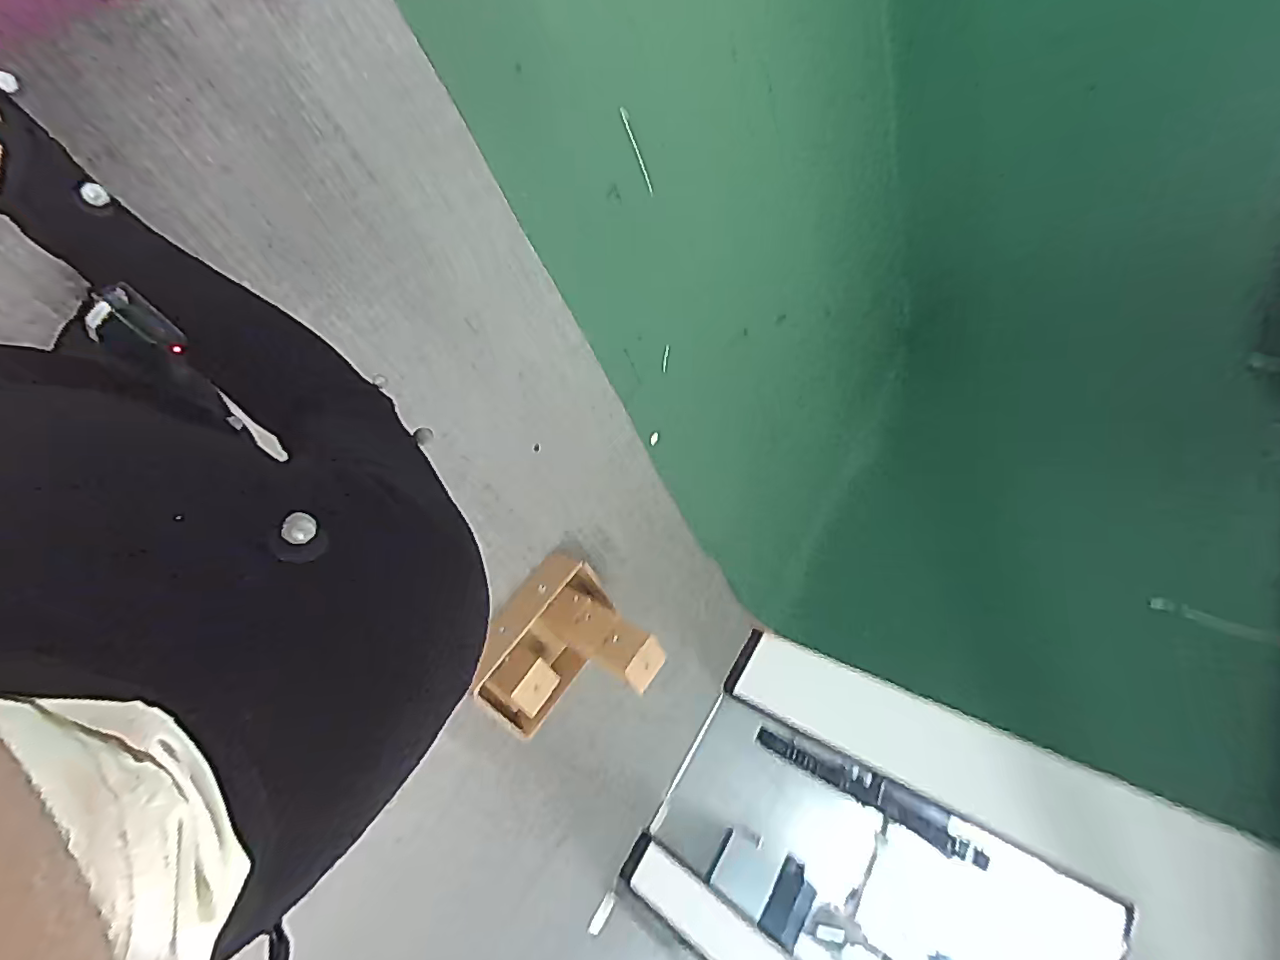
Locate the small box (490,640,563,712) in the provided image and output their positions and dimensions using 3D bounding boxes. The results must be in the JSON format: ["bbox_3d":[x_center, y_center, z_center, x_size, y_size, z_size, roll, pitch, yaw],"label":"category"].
[{"bbox_3d":[-0.435,0.741,2.063,0.168,0.176,0.179,-50,133,-27],"label":"small box"}]

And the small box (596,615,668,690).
[{"bbox_3d":[-0.029,0.626,1.981,0.168,0.176,0.179,-48,134,-26],"label":"small box"}]

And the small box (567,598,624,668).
[{"bbox_3d":[-0.148,0.583,2.087,0.168,0.176,0.179,-48,134,-25],"label":"small box"}]
